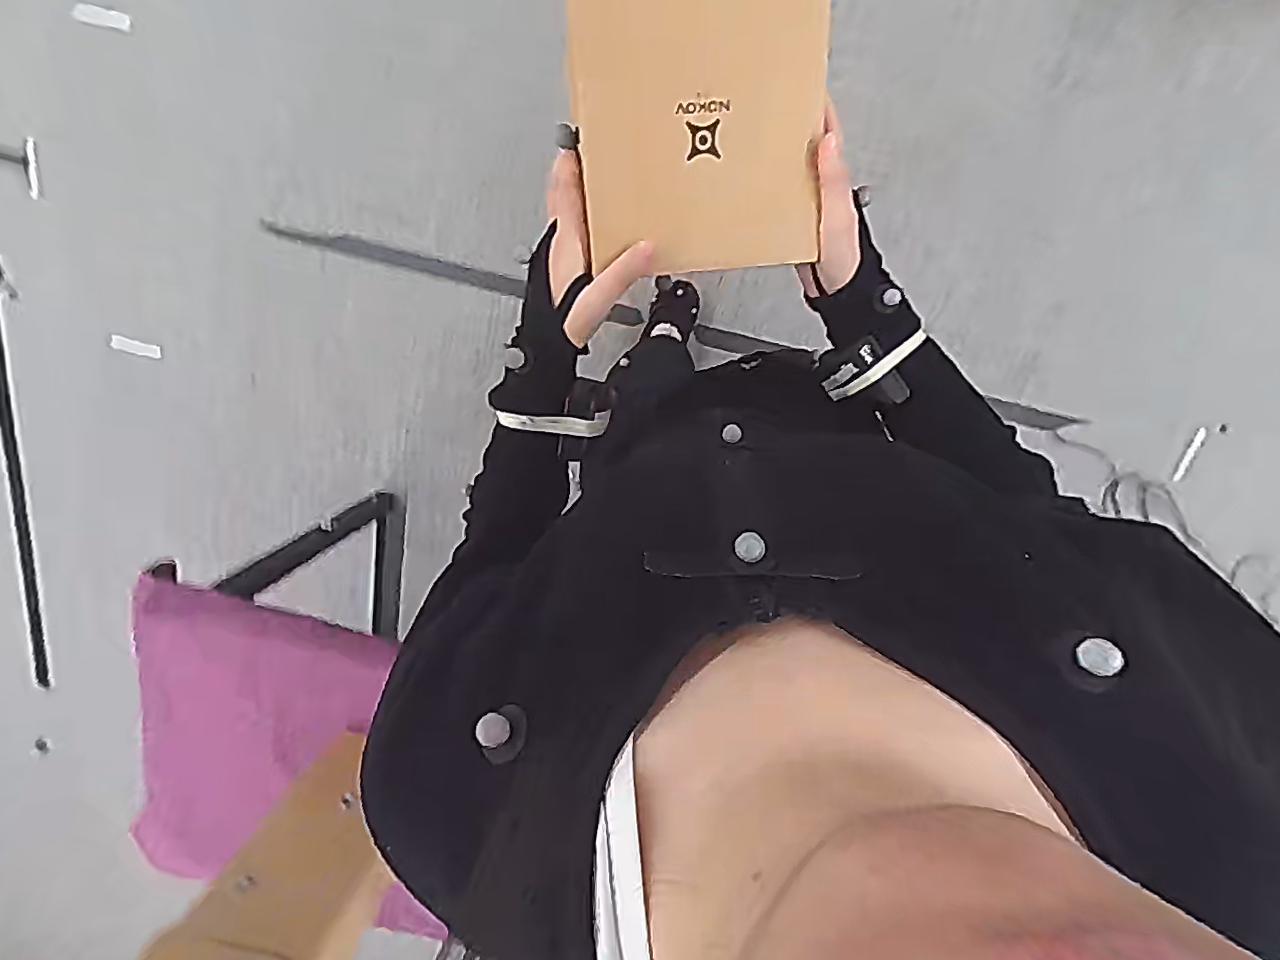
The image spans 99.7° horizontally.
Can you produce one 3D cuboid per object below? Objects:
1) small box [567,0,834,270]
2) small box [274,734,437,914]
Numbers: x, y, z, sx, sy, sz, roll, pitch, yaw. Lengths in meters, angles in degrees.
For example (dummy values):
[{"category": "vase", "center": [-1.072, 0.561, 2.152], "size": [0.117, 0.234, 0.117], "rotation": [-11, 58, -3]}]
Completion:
[{"category": "small box", "center": [0.034, -0.264, 0.425], "size": [0.168, 0.176, 0.179], "rotation": [-5, 112, -4]}, {"category": "small box", "center": [-0.459, 0.555, 0.892], "size": [0.179, 0.176, 0.168], "rotation": [15, 106, 2]}]
